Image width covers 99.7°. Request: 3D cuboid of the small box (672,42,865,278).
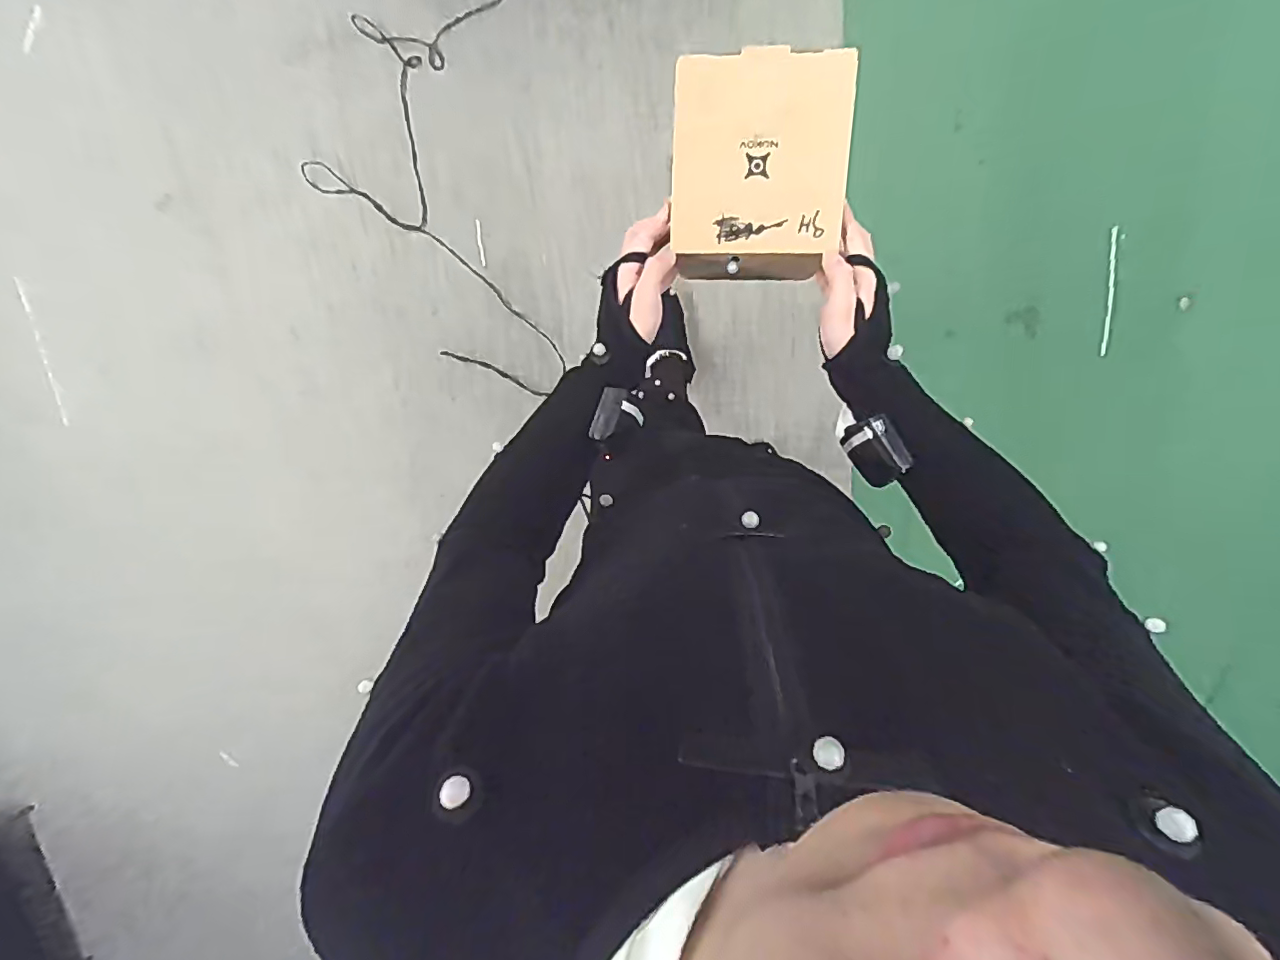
[{"bbox_3d":[0.125,-0.324,0.580,0.168,0.176,0.179,4,103,7],"label":"small box"}]
